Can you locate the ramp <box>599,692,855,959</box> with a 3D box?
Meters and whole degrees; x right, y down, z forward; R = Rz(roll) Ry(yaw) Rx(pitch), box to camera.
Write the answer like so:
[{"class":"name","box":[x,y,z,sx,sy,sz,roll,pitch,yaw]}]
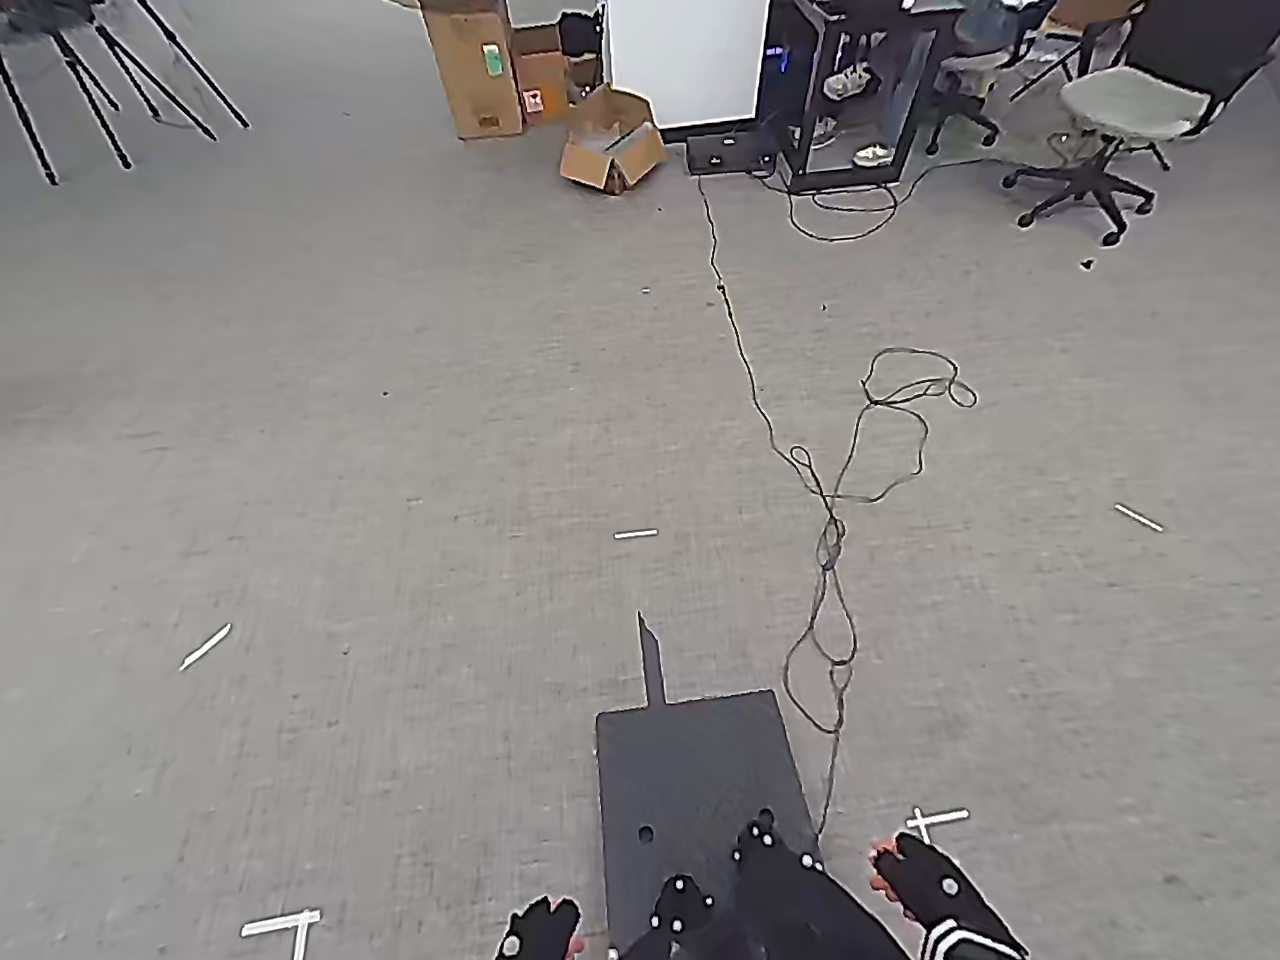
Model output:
[{"class":"ramp","box":[0.186,0.967,1.123,0.509,0.206,0.991,-10,56,-2]}]
